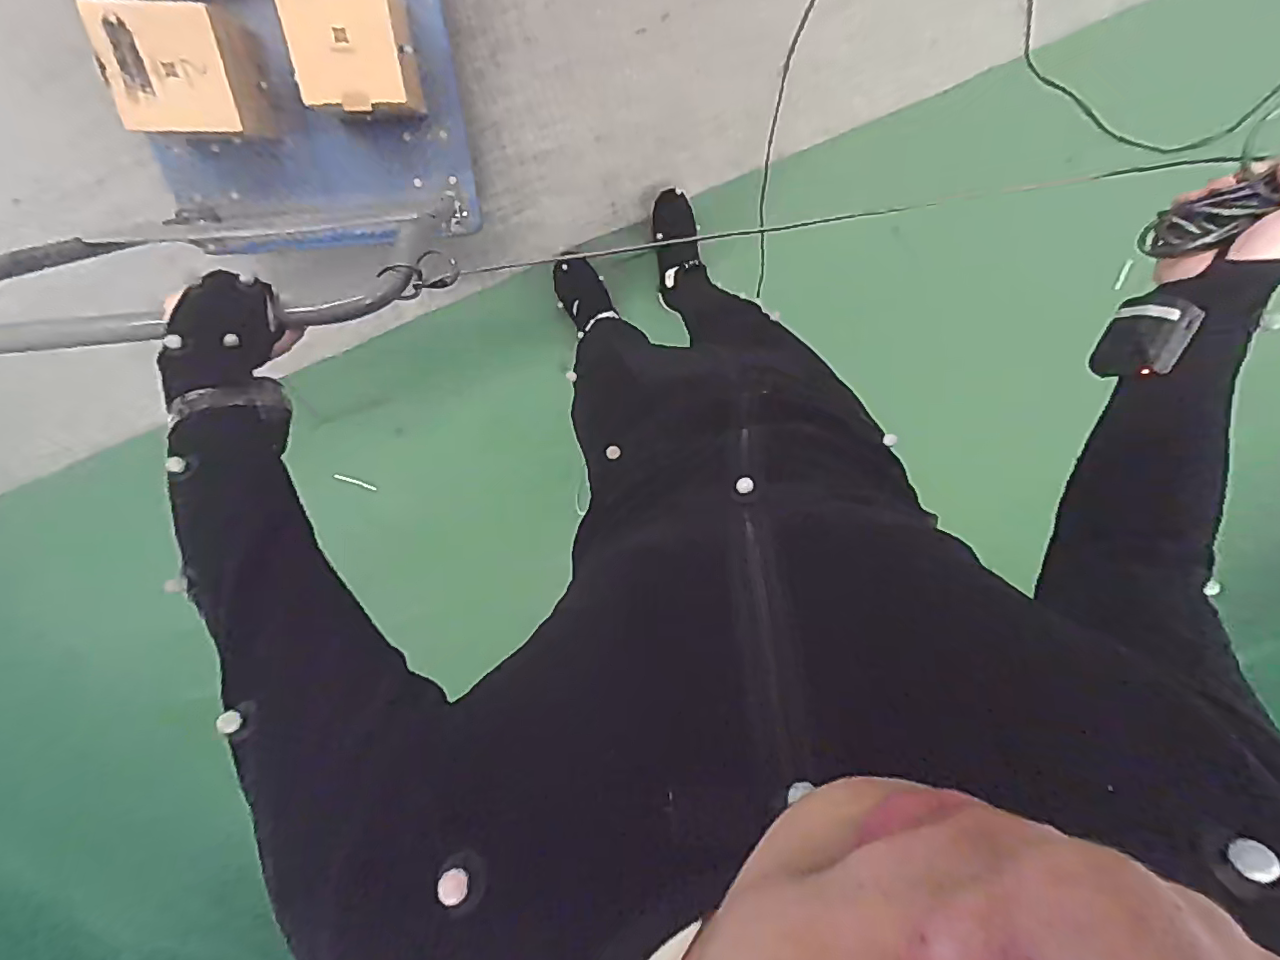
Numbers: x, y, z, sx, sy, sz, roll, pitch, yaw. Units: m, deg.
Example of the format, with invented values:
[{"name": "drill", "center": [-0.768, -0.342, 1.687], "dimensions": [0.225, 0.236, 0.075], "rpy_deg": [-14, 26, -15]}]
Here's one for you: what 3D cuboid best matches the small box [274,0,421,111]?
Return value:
[{"name": "small box", "center": [-0.486, -0.739, 0.914], "dimensions": [0.168, 0.176, 0.179], "rpy_deg": [-6, 121, -7]}]
